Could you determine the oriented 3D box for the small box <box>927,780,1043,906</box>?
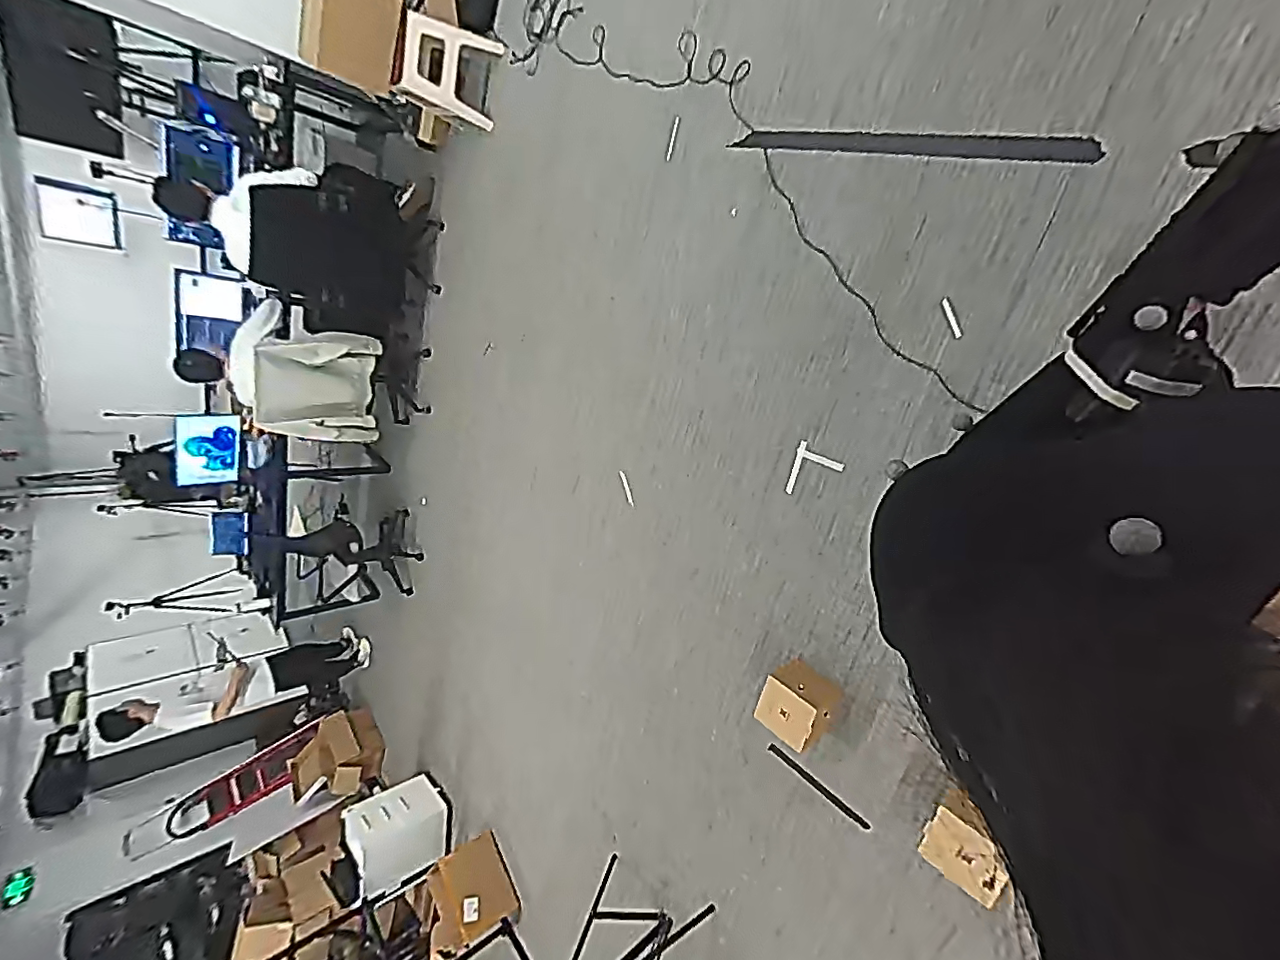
[{"bbox_3d":[0.859,0.886,1.346,0.179,0.176,0.168,30,115,40],"label":"small box"}]

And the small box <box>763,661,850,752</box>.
[{"bbox_3d":[0.519,0.691,1.676,0.179,0.176,0.168,30,114,41],"label":"small box"}]
